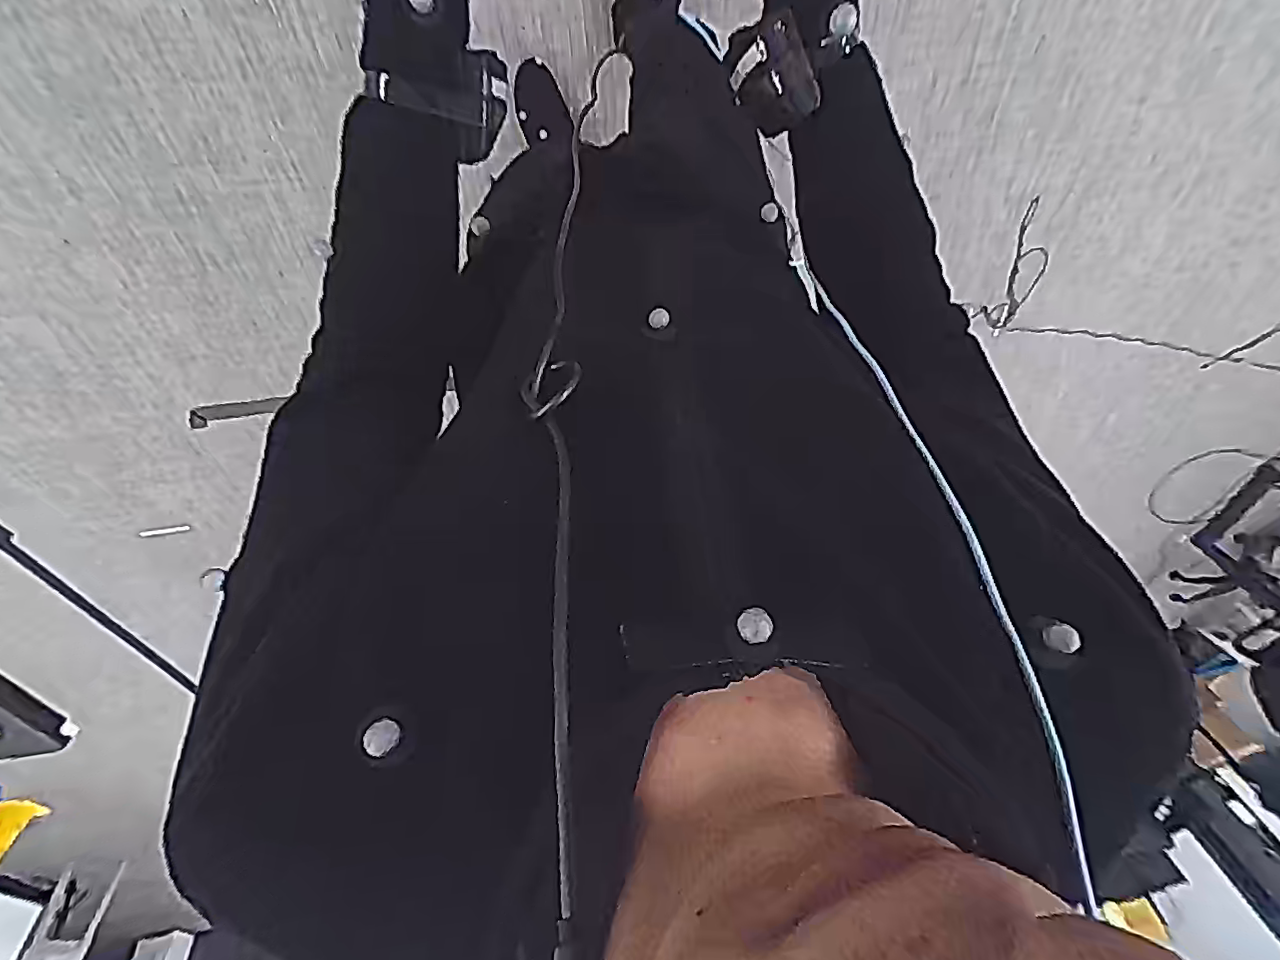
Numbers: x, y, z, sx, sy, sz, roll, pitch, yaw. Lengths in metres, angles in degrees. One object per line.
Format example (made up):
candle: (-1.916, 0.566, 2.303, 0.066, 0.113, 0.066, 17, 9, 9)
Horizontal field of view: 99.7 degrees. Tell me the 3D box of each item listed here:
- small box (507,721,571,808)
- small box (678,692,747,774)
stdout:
small box: (-0.297, 0.826, 1.586, 0.168, 0.176, 0.179, -7, 134, -9)
small box: (0.215, 0.768, 1.661, 0.168, 0.176, 0.179, -6, 133, -8)
